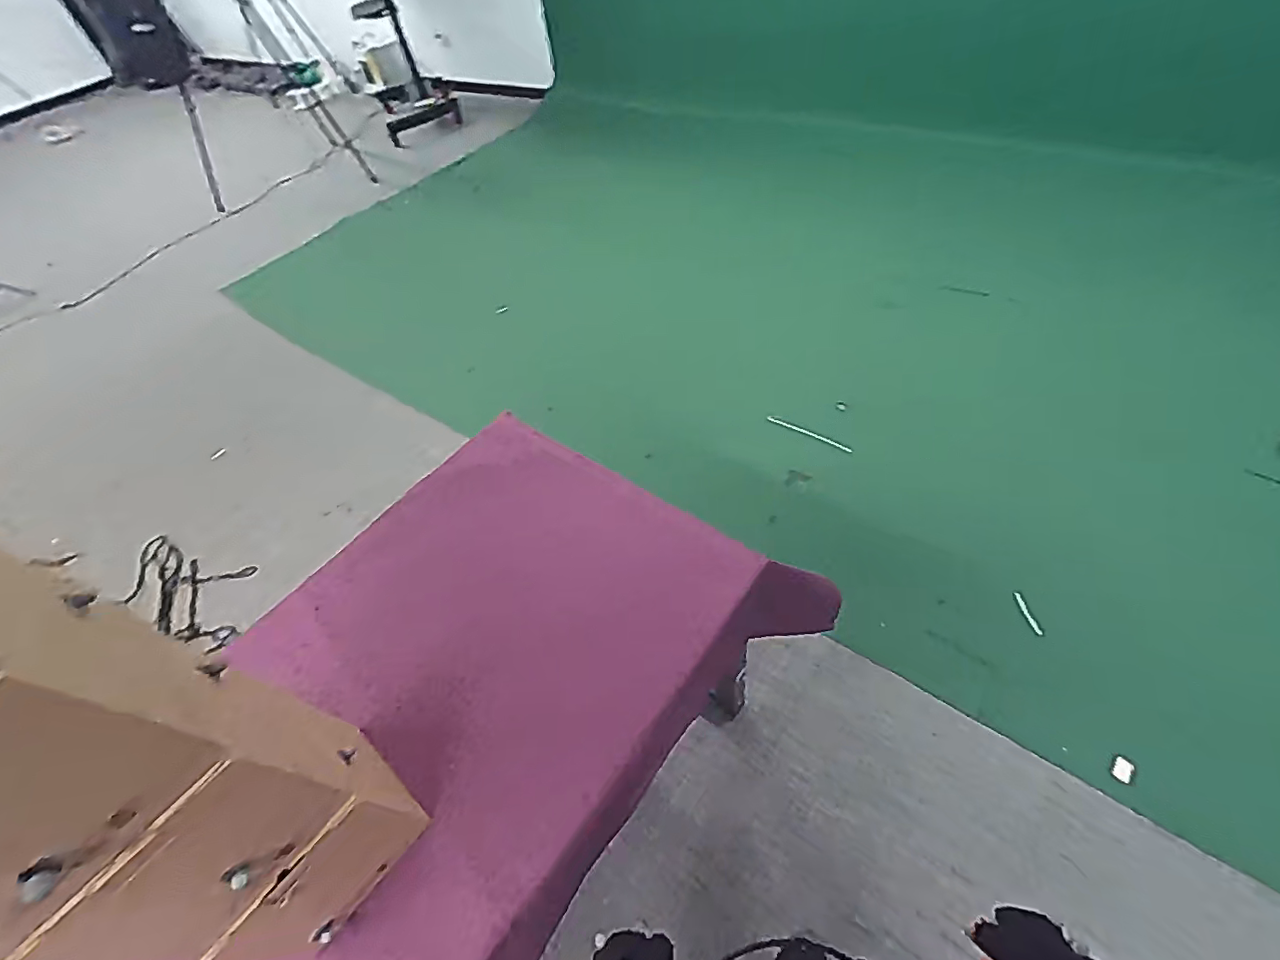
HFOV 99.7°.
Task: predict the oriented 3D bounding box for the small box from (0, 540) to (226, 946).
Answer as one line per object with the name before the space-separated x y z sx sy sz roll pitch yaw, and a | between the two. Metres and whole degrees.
small box | -0.436 0.170 0.358 0.179 0.176 0.168 29 62 28

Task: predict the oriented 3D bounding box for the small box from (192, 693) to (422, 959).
small box | -0.382 0.379 0.604 0.179 0.176 0.168 29 61 29

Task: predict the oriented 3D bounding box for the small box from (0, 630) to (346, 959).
small box | -0.411 0.274 0.481 0.179 0.176 0.168 29 62 28
